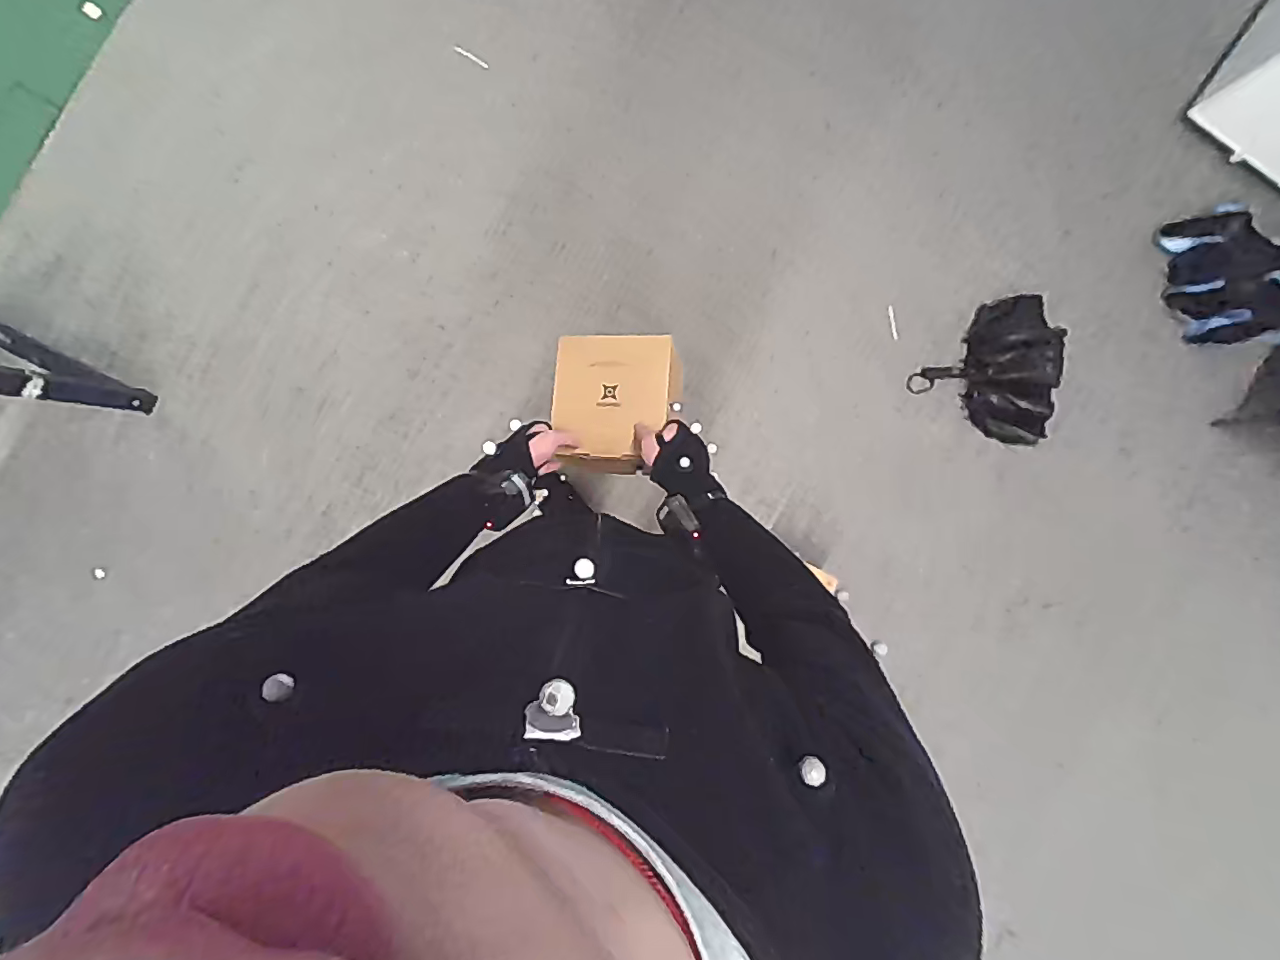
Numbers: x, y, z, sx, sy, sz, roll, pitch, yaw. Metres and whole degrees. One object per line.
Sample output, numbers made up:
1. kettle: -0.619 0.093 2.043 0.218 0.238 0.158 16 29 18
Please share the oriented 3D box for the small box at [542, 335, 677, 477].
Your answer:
1. small box: -0.036 -0.103 0.814 0.168 0.176 0.179 2 81 9
